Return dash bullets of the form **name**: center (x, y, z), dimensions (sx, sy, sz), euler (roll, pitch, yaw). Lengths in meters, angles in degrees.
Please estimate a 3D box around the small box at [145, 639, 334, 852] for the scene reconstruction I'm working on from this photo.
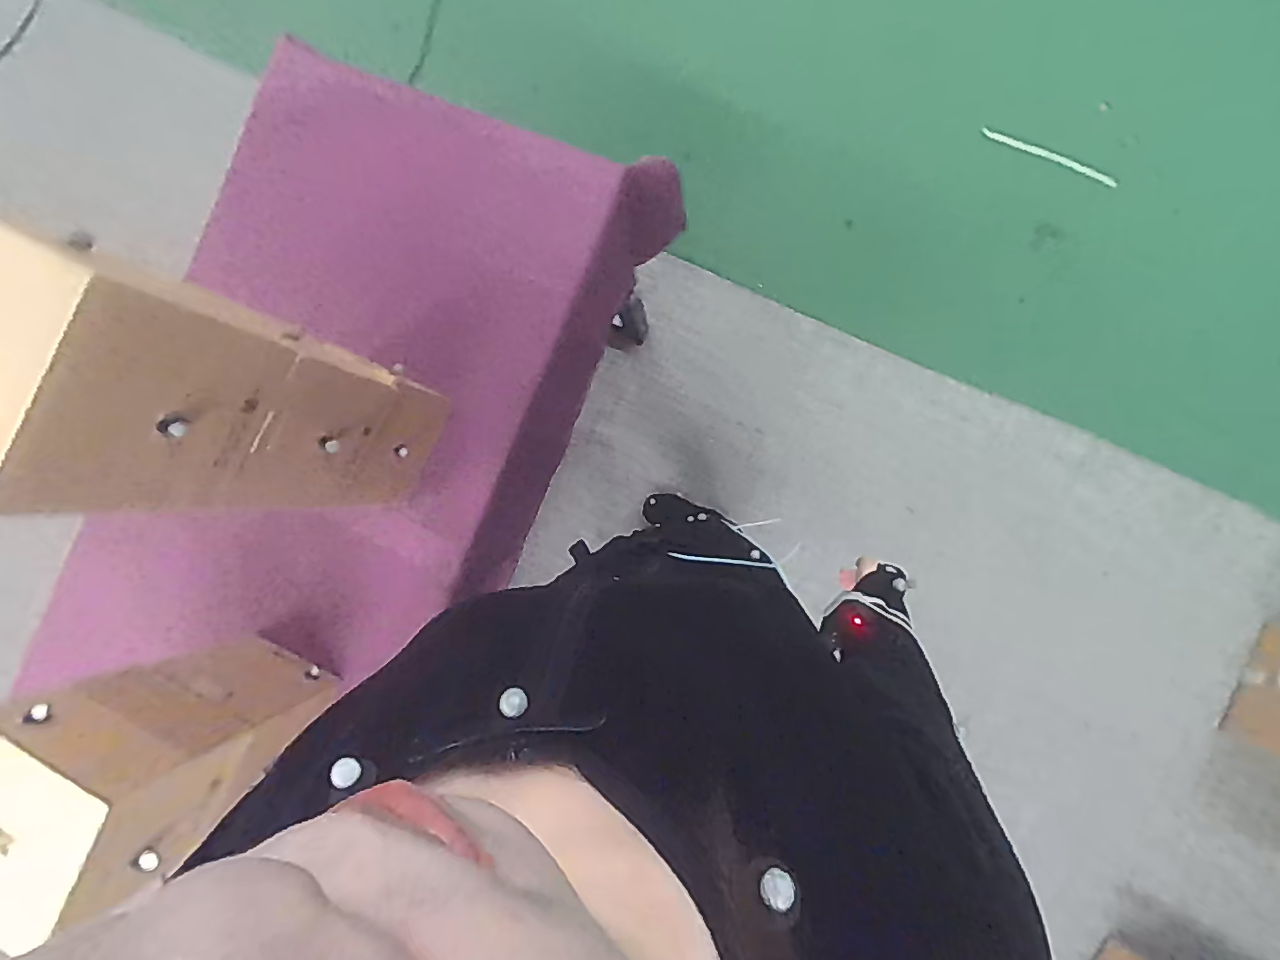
- **small box**: center (-0.561, 0.342, 0.739), dimensions (0.168, 0.176, 0.179), euler (24, 90, 6)

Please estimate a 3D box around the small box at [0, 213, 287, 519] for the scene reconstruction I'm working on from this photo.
- **small box**: center (-0.425, -0.085, 0.413), dimensions (0.179, 0.176, 0.168), euler (27, 90, 6)

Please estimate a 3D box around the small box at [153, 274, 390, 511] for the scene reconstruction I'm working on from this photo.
- **small box**: center (-0.410, -0.081, 0.578), dimensions (0.179, 0.176, 0.168), euler (29, 91, 5)

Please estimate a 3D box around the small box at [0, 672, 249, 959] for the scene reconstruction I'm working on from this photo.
- **small box**: center (-0.576, 0.331, 0.577), dimensions (0.179, 0.176, 0.168), euler (25, 90, 7)
